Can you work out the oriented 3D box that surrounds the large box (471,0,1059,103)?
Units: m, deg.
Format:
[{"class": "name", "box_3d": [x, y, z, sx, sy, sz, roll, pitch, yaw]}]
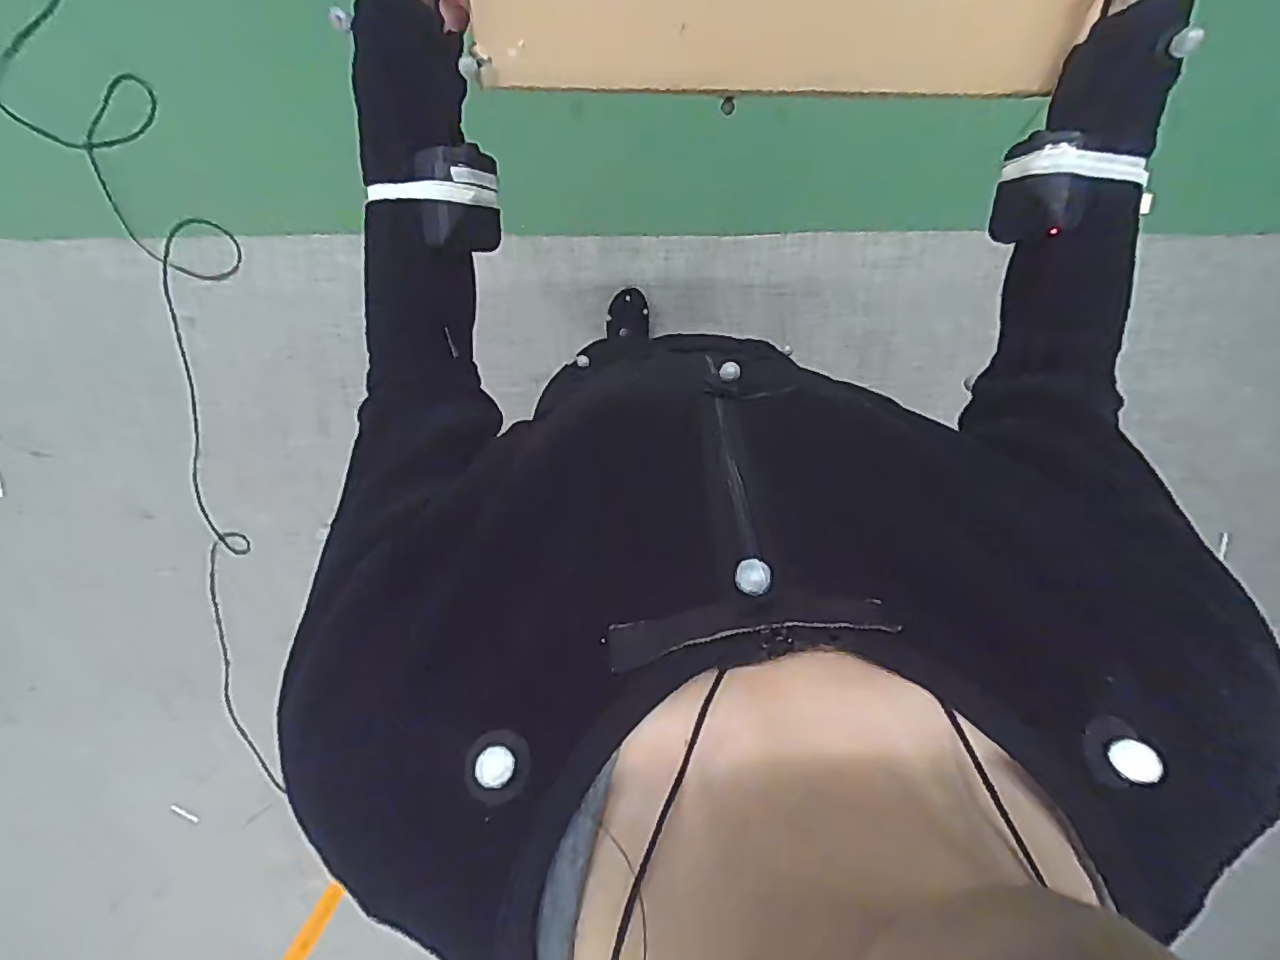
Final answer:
[{"class": "large box", "box_3d": [0.083, -0.490, 0.419, 0.408, 0.320, 0.320, -1, 126, -2]}]
